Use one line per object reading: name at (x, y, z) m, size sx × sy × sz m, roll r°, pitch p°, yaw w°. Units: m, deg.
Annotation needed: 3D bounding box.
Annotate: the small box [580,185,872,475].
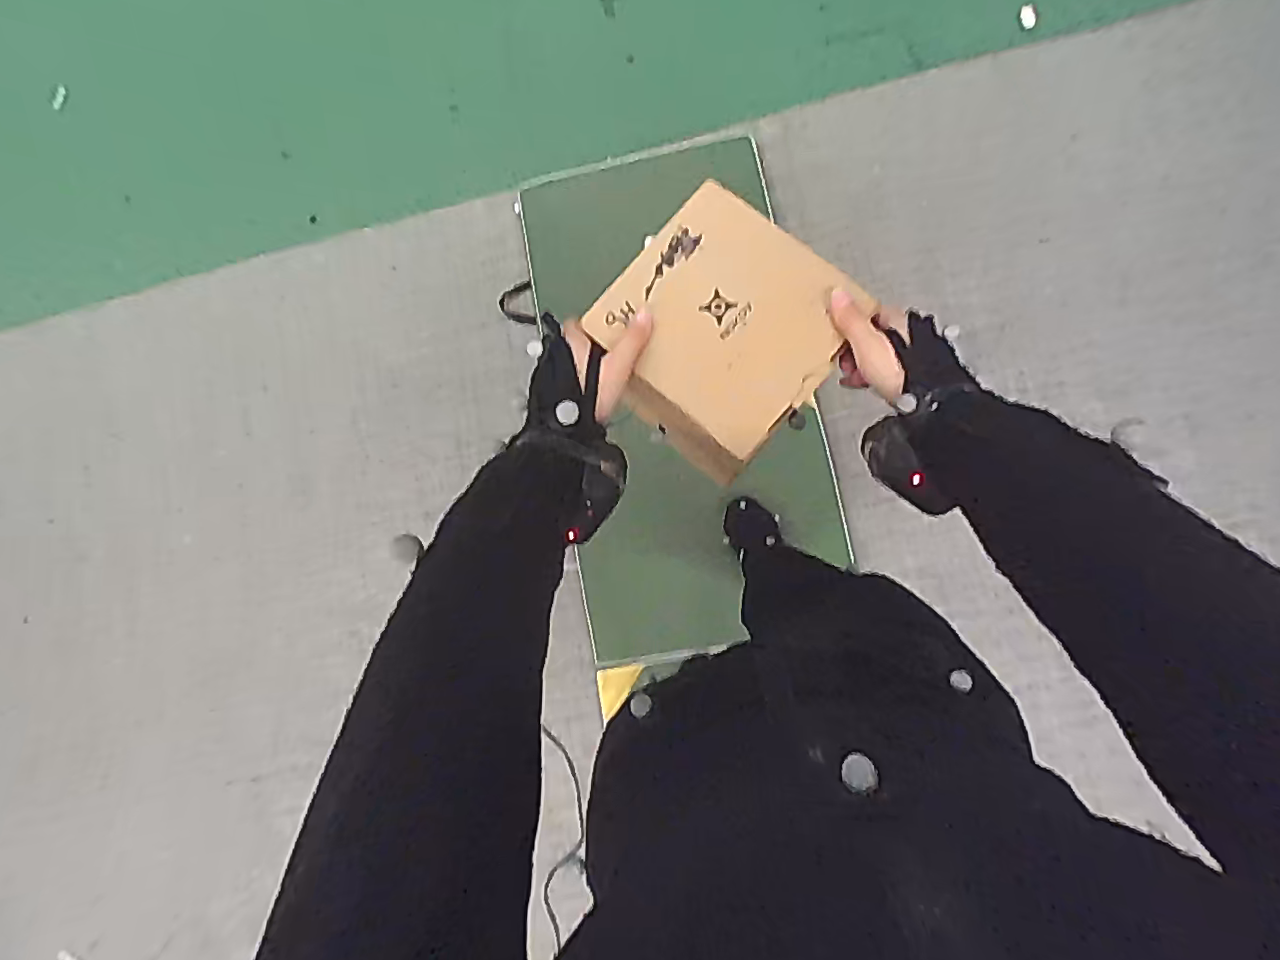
small box at (0.072, -0.120, 0.510) m, size 0.179 × 0.176 × 0.168 m, roll 41°, pitch 86°, yaw 8°
